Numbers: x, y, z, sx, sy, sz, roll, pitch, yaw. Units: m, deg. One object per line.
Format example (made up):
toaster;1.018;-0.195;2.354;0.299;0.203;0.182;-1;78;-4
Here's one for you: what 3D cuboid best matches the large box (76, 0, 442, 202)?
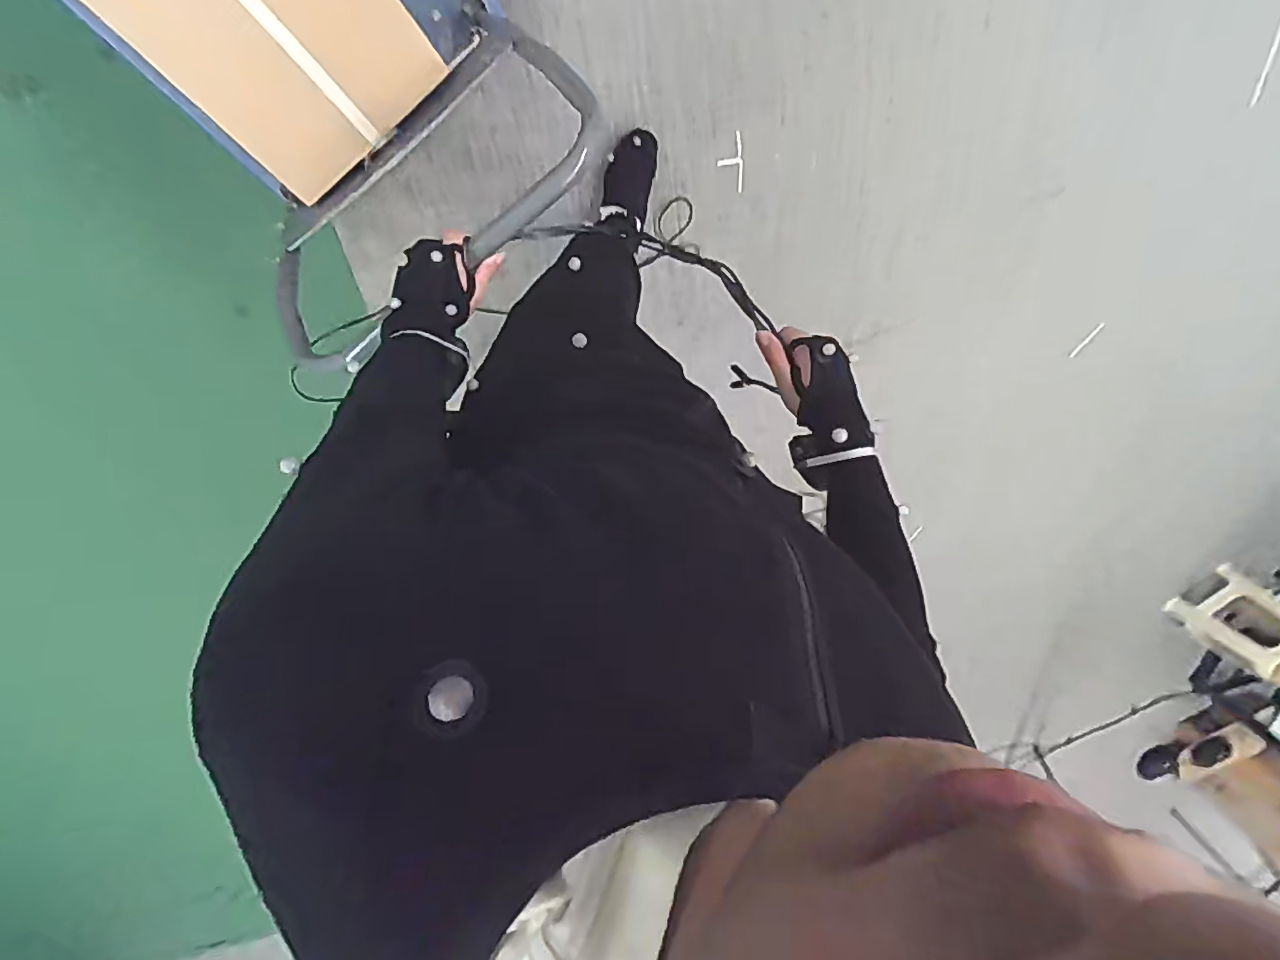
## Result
large box;-0.564;-0.722;0.805;0.320;0.320;0.408;-37;136;9
